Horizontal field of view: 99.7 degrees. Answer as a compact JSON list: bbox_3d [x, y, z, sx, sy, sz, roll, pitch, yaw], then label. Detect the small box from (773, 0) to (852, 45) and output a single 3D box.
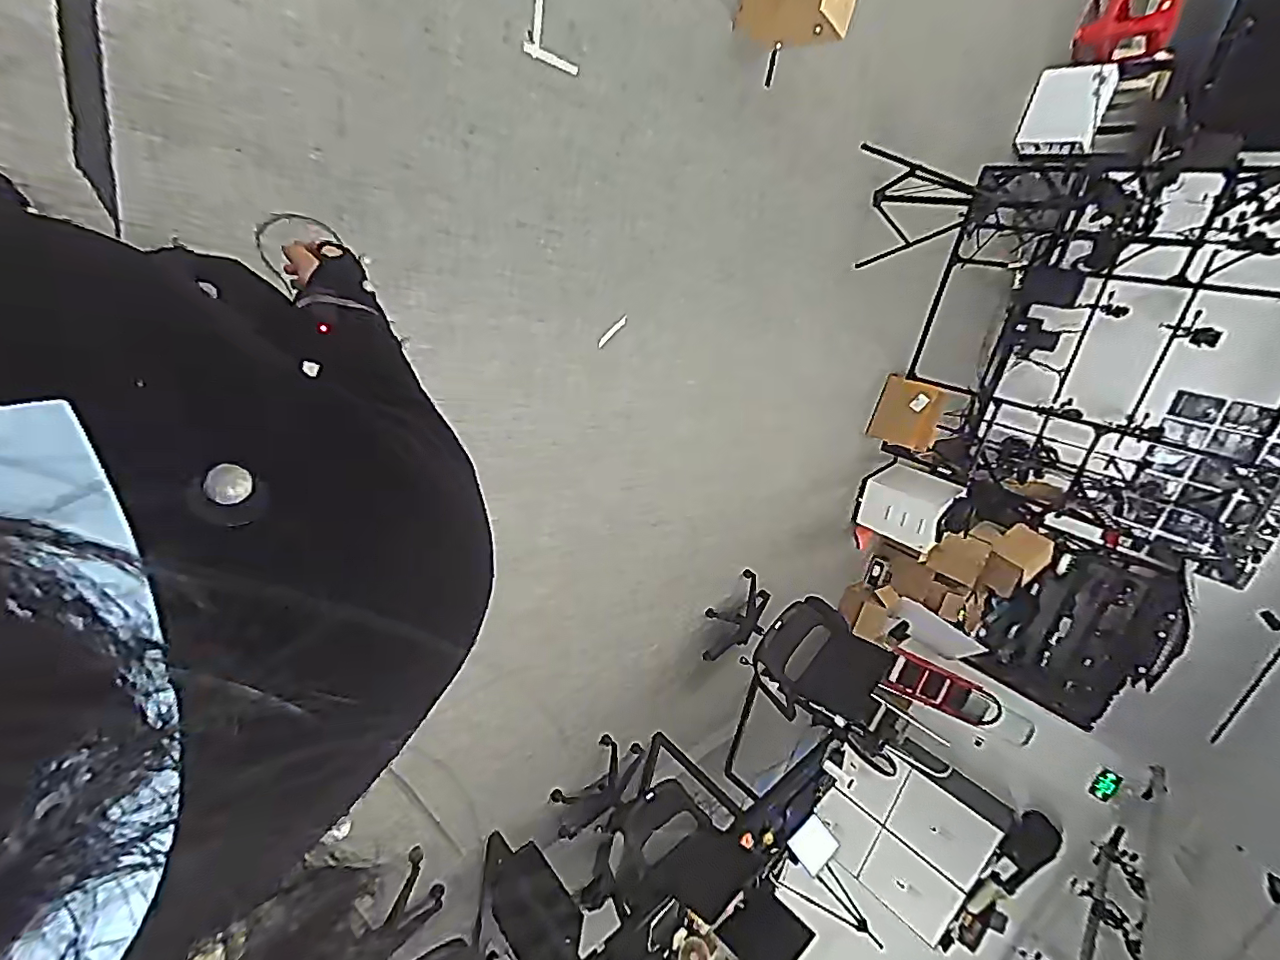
[{"bbox_3d":[0.544,-1.505,1.696,0.179,0.176,0.168,-3,115,-47],"label":"small box"}]
